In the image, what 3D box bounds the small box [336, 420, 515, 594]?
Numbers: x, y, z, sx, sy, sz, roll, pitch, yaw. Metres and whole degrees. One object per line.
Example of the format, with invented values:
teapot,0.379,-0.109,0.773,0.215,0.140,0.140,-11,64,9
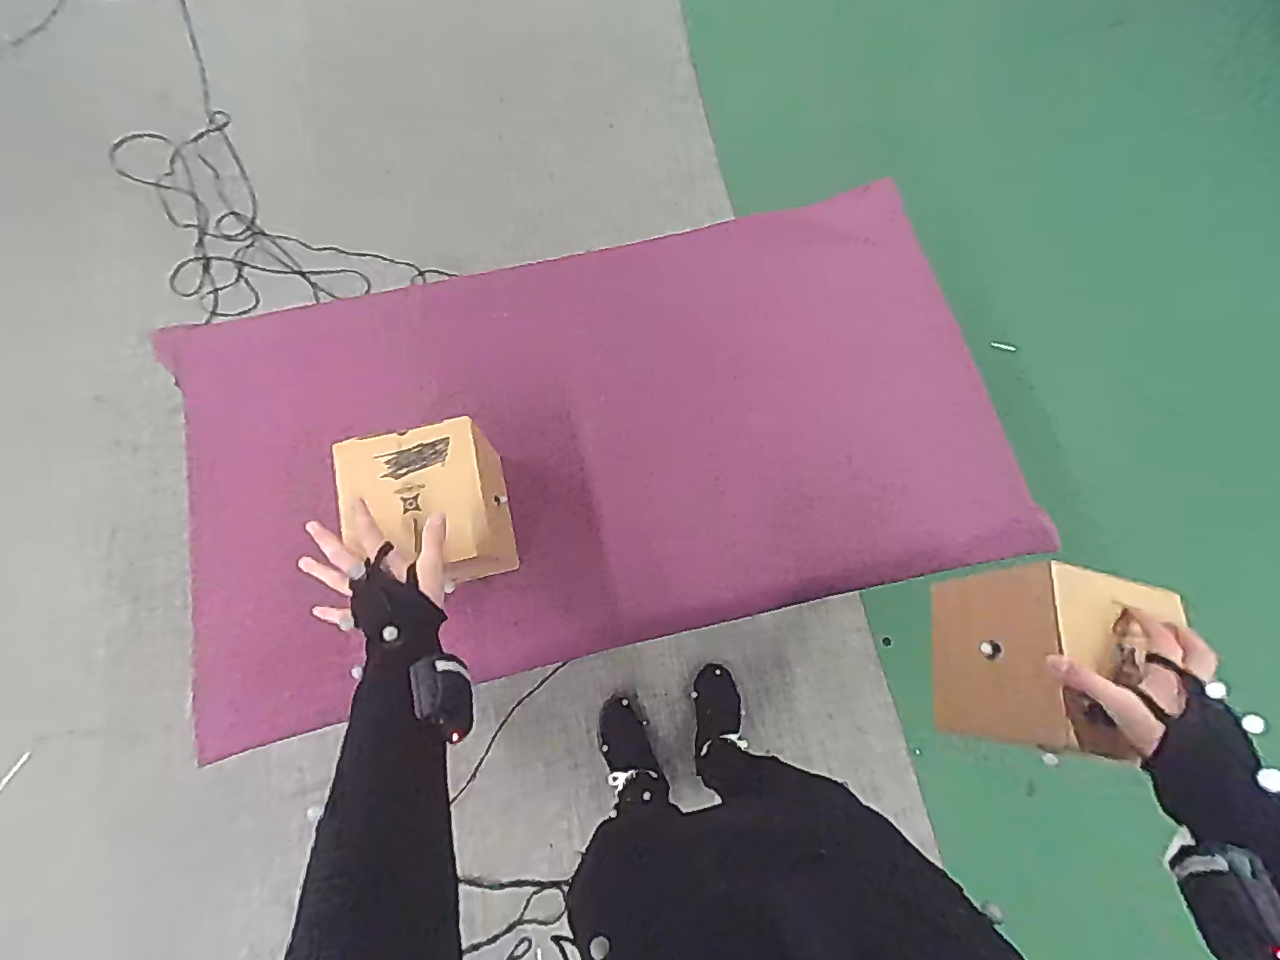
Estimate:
small box,-0.272,0.043,0.712,0.168,0.176,0.179,-12,76,-5
